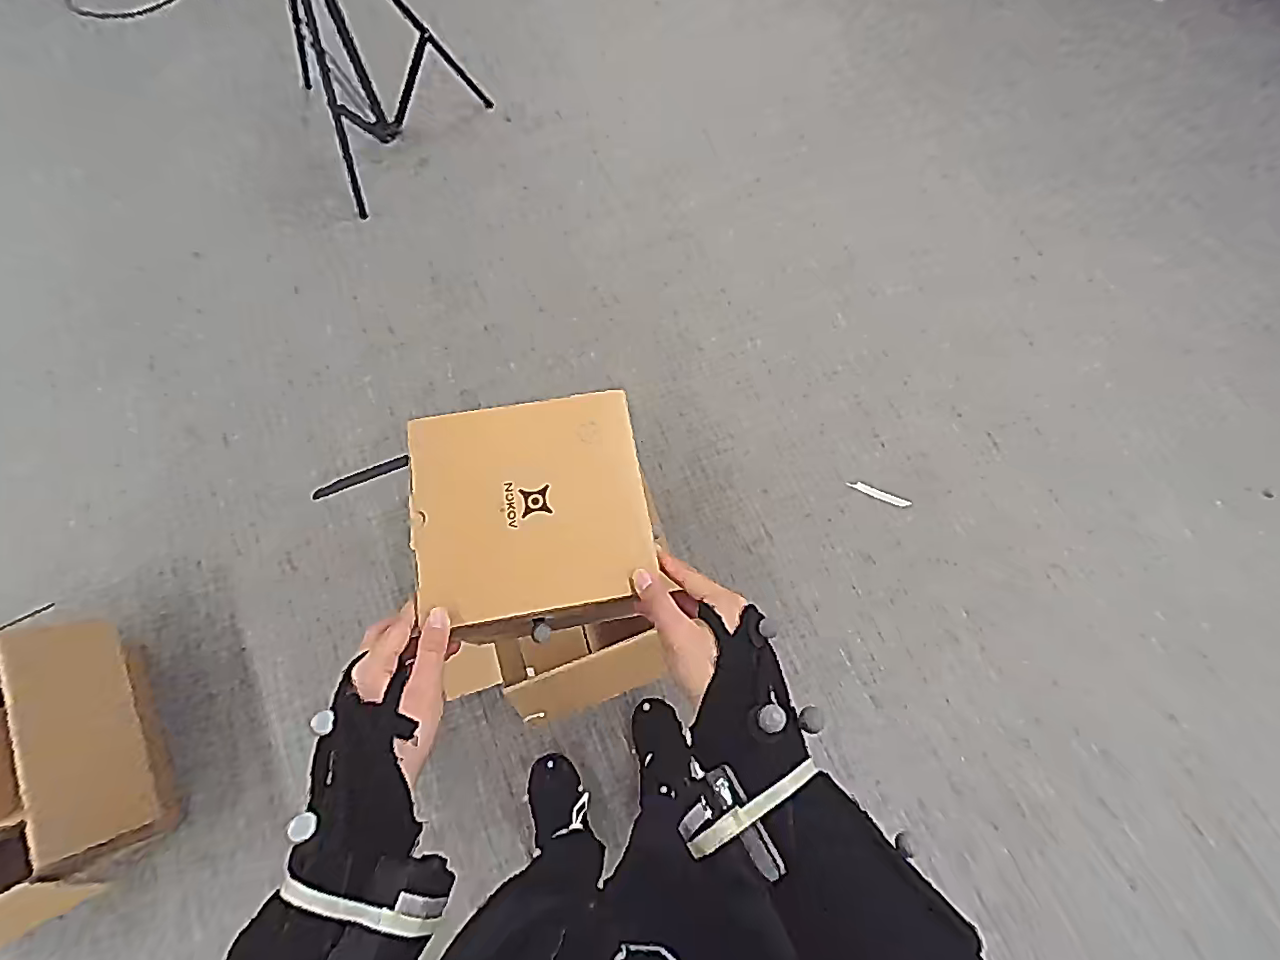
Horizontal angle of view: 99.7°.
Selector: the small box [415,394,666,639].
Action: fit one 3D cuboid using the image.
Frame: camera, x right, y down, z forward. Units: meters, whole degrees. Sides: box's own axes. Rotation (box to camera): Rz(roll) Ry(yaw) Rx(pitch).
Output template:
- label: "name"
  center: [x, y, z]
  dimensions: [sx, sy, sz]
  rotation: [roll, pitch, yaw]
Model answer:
- label: "small box"
  center: [-0.083, 0.043, 0.488]
  dimensions: [0.179, 0.176, 0.168]
  rotation: [-10, 71, -5]
